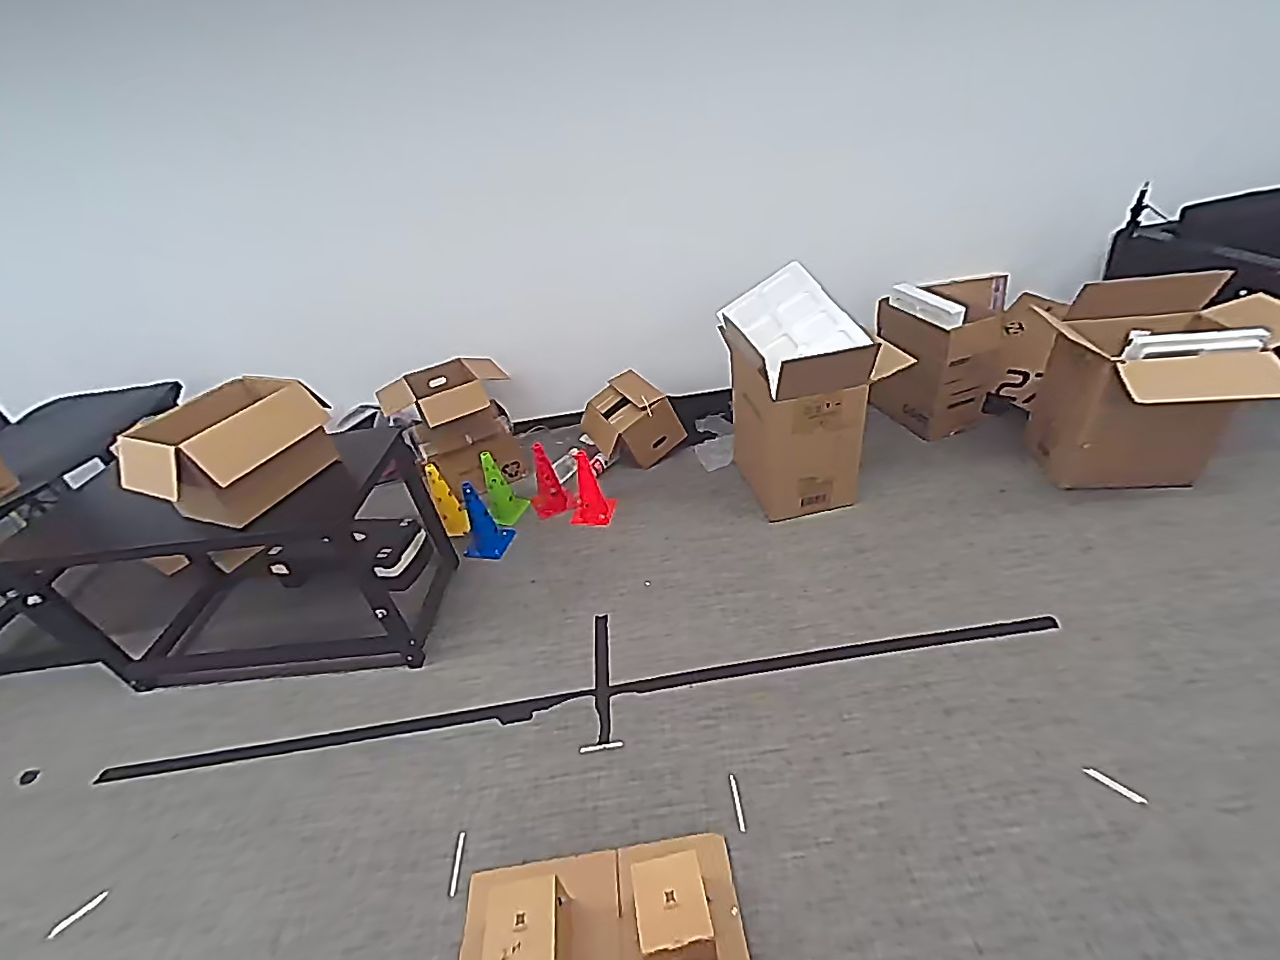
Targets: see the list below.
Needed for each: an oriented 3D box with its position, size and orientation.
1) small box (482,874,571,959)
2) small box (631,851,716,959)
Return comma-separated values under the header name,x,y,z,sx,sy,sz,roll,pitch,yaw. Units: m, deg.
name,x,y,z,sx,sy,sz,roll,pitch,yaw
small box,-0.261,1.075,1.275,0.168,0.176,0.179,-10,36,0
small box,0.079,1.025,1.279,0.168,0.176,0.179,-12,36,-4
